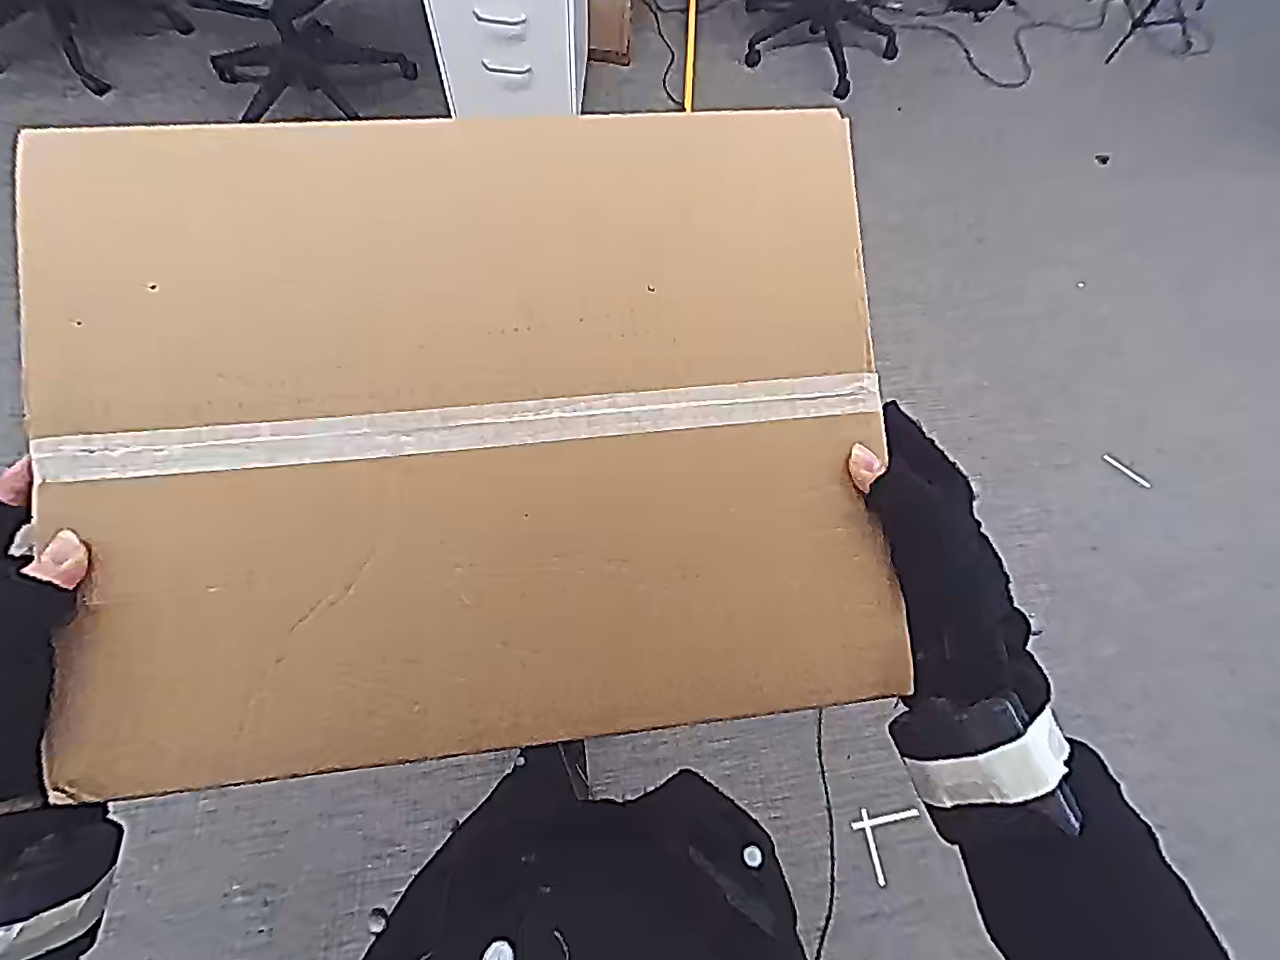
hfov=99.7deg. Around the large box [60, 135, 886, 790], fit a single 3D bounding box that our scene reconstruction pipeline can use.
[{"bbox_3d":[-0.088,-0.017,0.427,0.408,0.320,0.320,-5,87,-5],"label":"large box"}]
